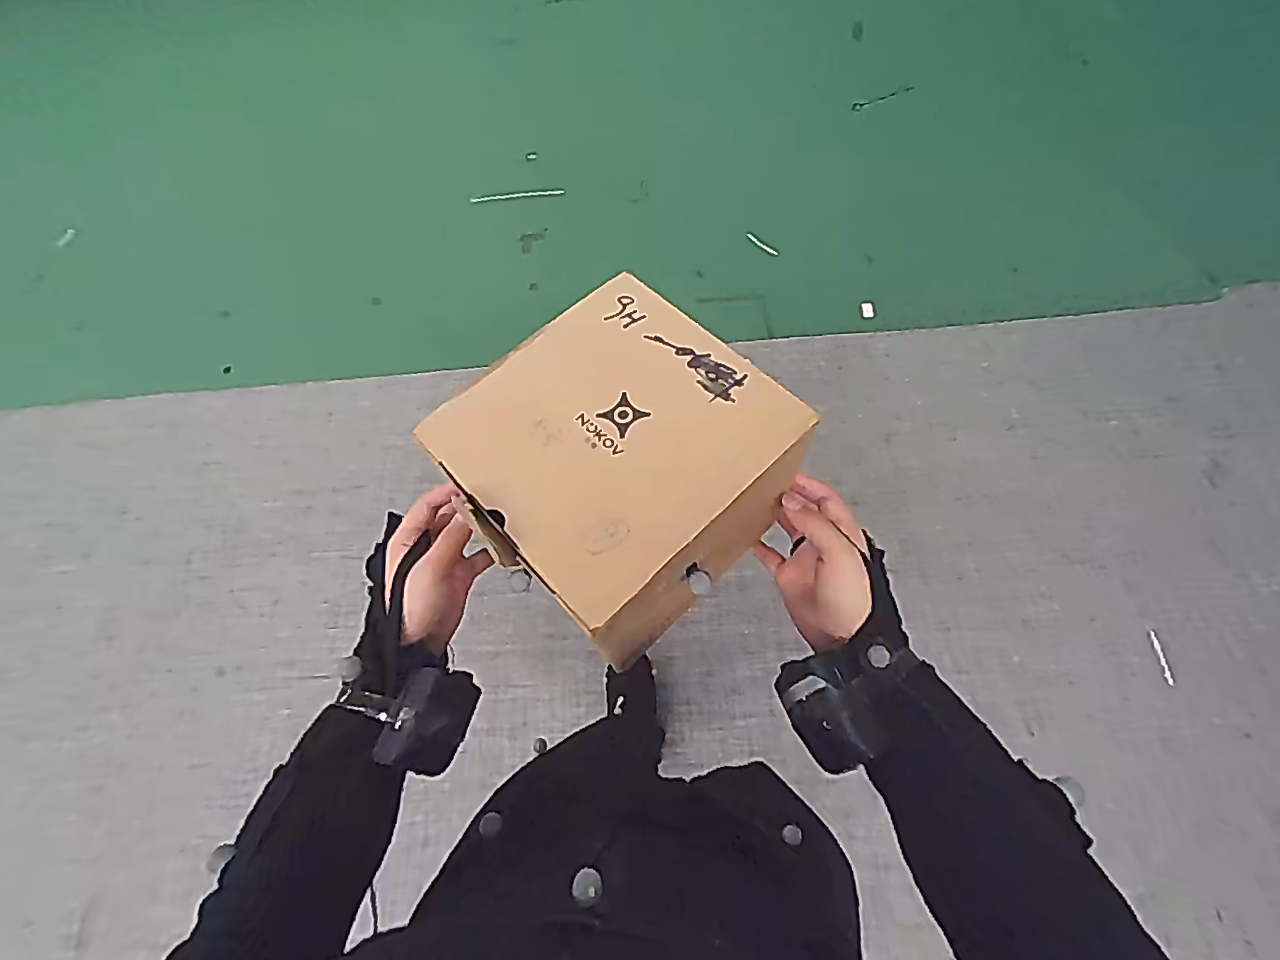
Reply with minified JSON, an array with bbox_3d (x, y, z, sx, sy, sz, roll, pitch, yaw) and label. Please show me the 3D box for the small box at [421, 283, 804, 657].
[{"bbox_3d":[-0.013,0.005,0.393,0.179,0.176,0.168,-42,69,-14],"label":"small box"}]
